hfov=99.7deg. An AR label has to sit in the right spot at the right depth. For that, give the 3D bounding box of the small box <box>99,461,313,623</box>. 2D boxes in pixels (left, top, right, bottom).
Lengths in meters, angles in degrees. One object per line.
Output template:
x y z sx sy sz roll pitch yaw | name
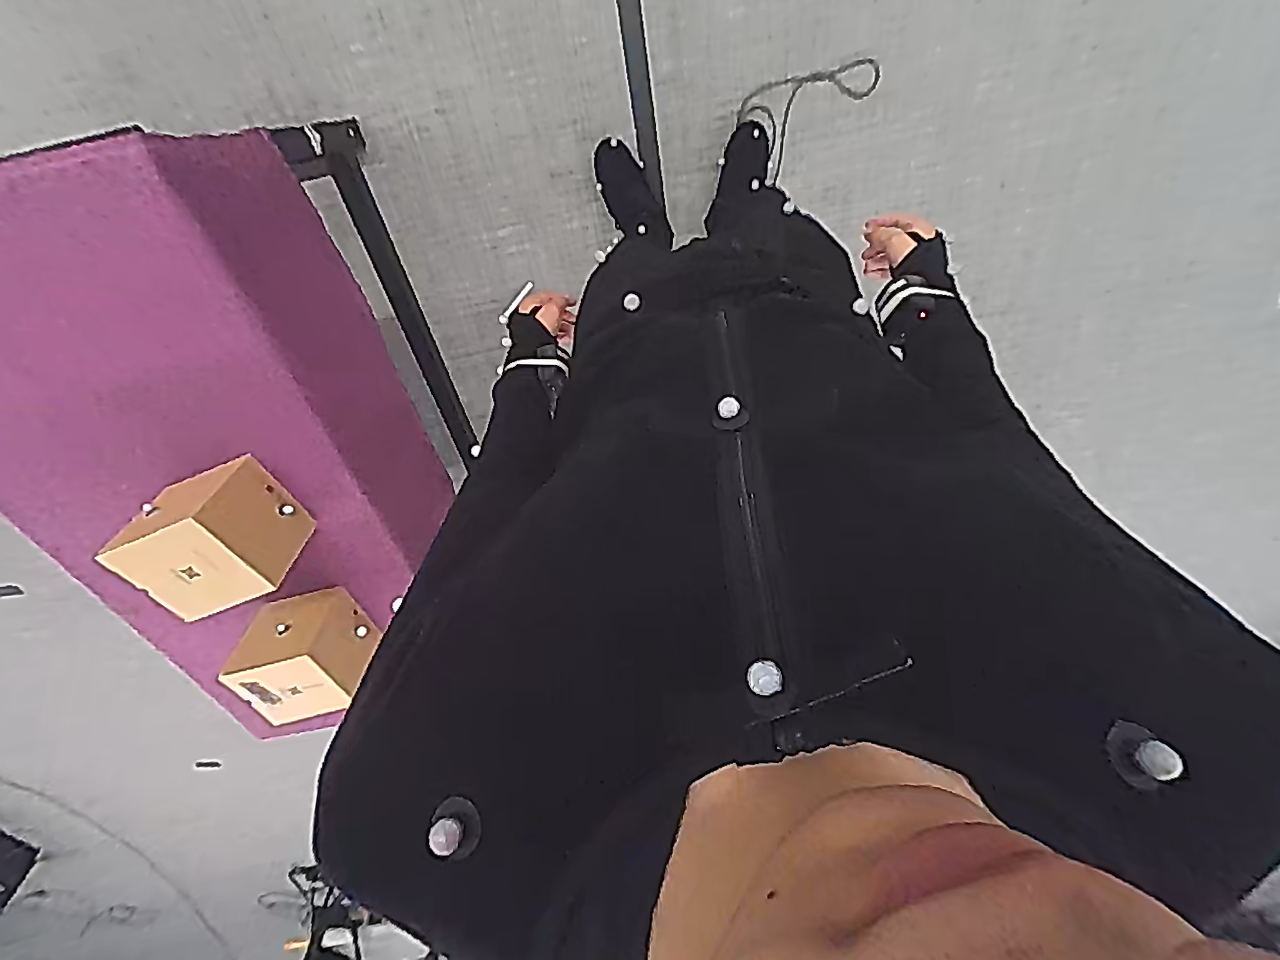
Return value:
-0.682 0.097 0.878 0.179 0.176 0.168 -19 126 10 | small box

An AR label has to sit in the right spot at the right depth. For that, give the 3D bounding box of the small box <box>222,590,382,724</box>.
-0.644 0.342 1.057 0.179 0.176 0.168 -14 126 5 | small box
